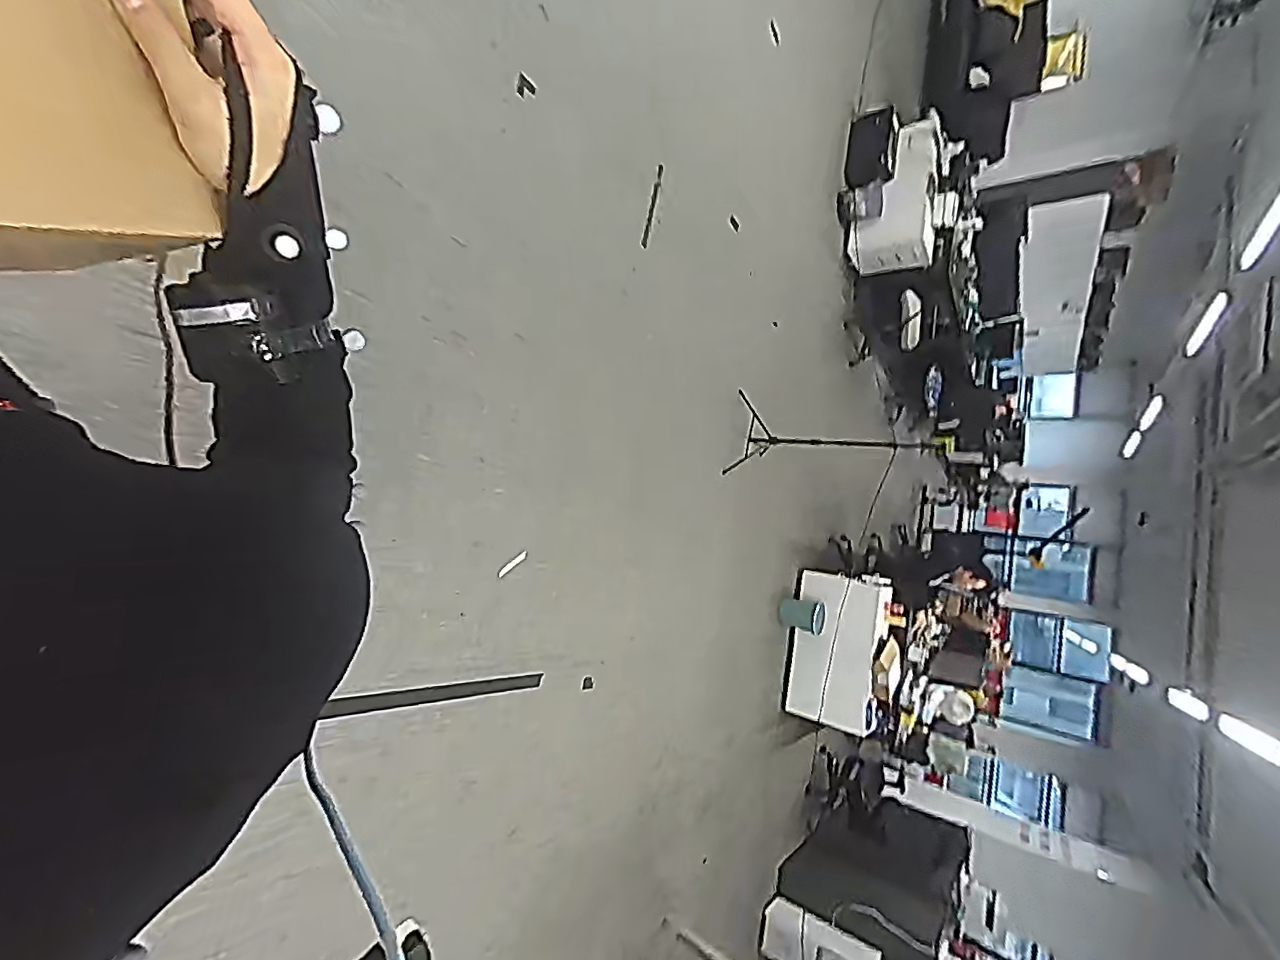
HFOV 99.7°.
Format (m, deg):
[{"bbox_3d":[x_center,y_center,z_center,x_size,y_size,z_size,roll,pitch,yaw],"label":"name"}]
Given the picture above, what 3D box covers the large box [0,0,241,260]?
[{"bbox_3d":[-0.472,-0.255,0.190,0.408,0.320,0.320,-29,124,-54],"label":"large box"}]
